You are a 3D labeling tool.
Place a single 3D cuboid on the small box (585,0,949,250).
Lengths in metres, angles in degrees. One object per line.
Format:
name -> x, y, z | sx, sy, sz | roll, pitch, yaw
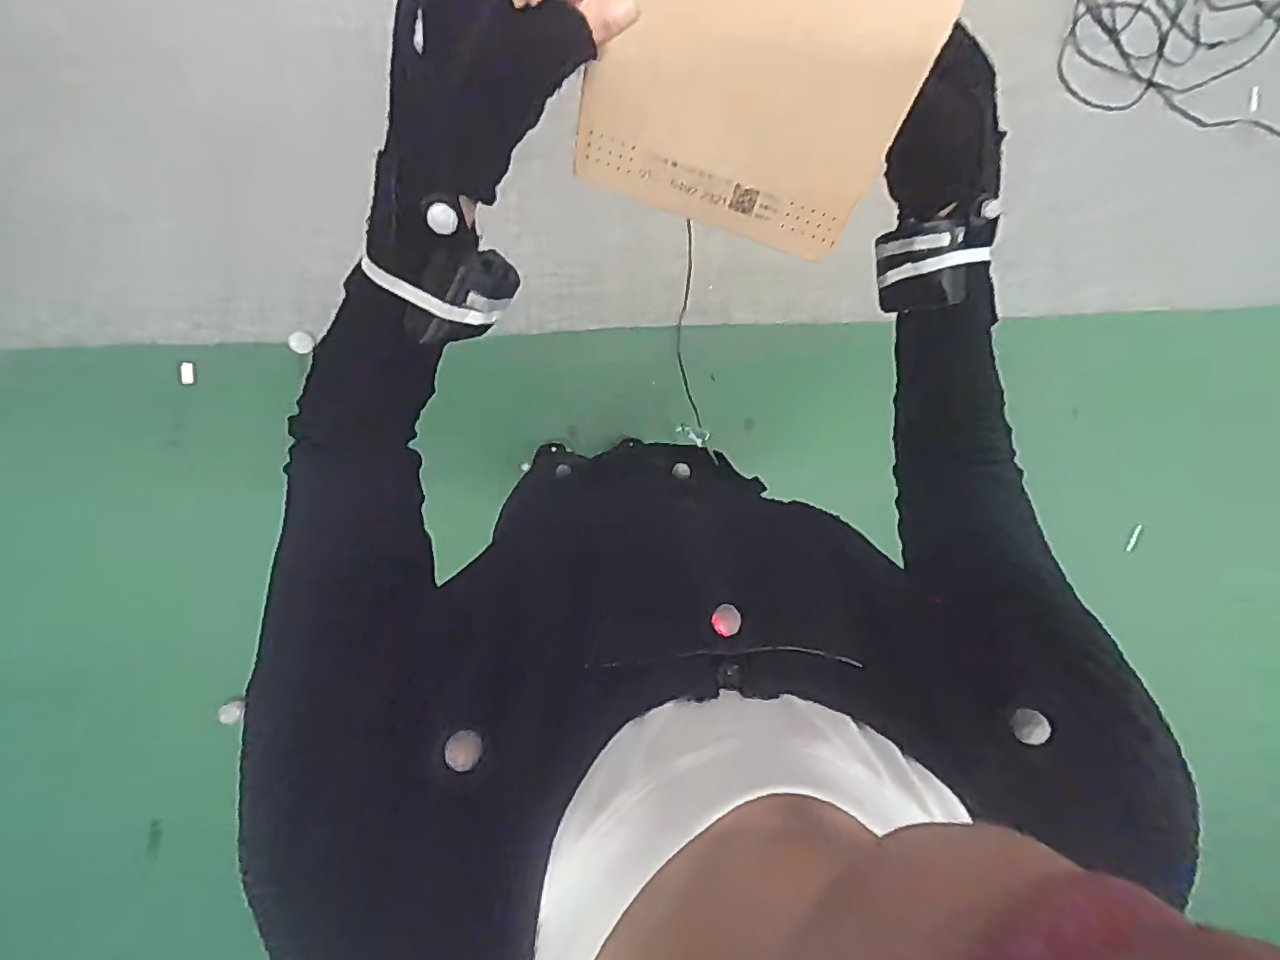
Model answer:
small box -> 0.074, -0.274, 0.330 | 0.168, 0.176, 0.179 | 19, 48, 1
